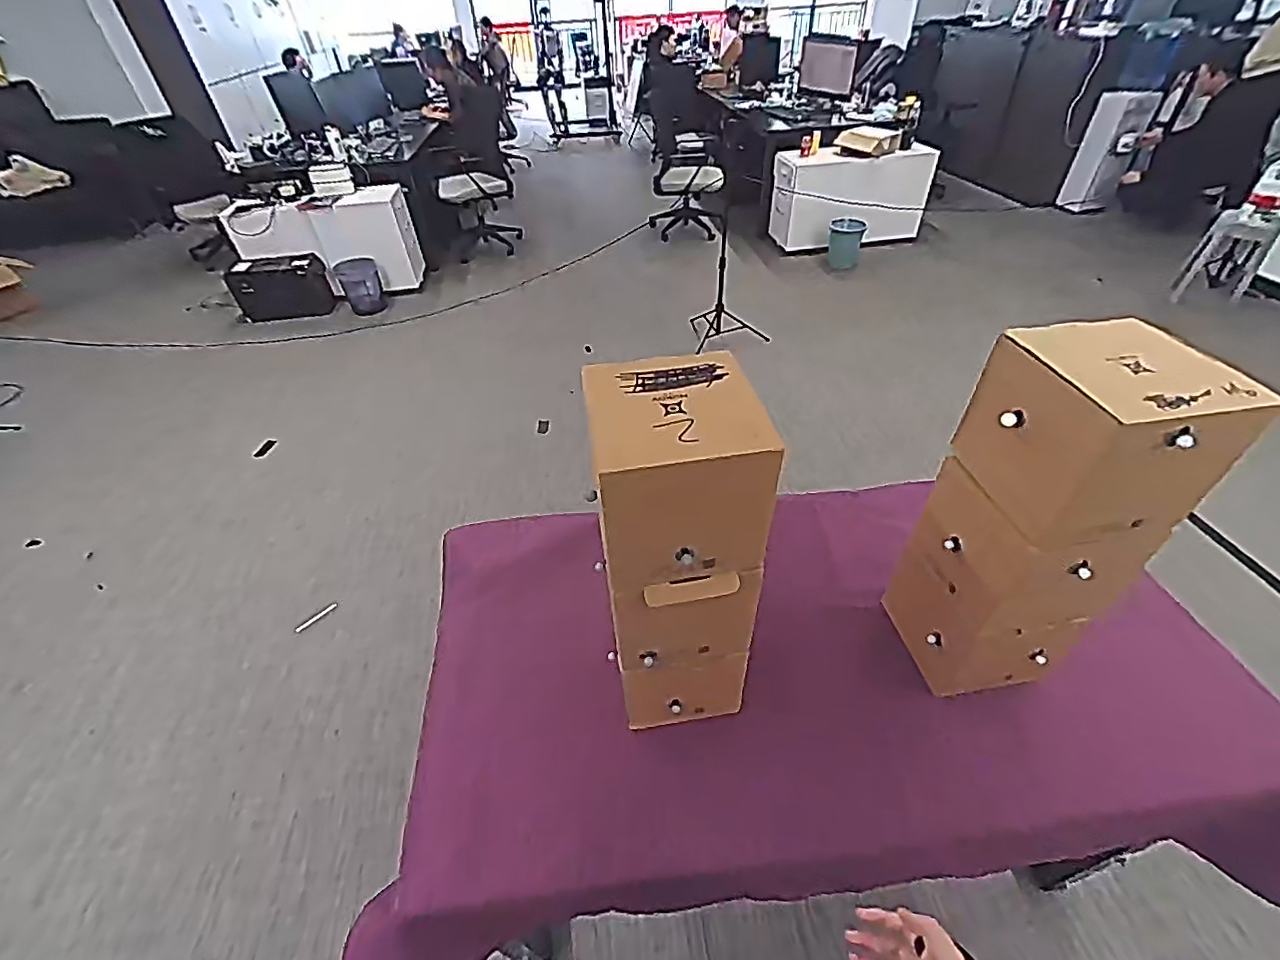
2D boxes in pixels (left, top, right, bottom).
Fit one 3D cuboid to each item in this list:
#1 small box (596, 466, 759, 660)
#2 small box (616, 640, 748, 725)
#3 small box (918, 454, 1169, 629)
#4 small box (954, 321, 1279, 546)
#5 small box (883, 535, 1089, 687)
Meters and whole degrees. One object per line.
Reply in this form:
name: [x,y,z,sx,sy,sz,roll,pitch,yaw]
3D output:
small box: [0.041,0.110,0.686,0.168,0.176,0.179,-8,42,-6]
small box: [0.049,0.231,0.797,0.168,0.176,0.179,-8,43,-5]
small box: [0.488,0.073,0.696,0.179,0.176,0.168,-7,43,-5]
small box: [0.486,-0.053,0.590,0.168,0.176,0.179,-7,42,-4]
small box: [0.496,0.192,0.809,0.168,0.176,0.179,-7,42,-4]
